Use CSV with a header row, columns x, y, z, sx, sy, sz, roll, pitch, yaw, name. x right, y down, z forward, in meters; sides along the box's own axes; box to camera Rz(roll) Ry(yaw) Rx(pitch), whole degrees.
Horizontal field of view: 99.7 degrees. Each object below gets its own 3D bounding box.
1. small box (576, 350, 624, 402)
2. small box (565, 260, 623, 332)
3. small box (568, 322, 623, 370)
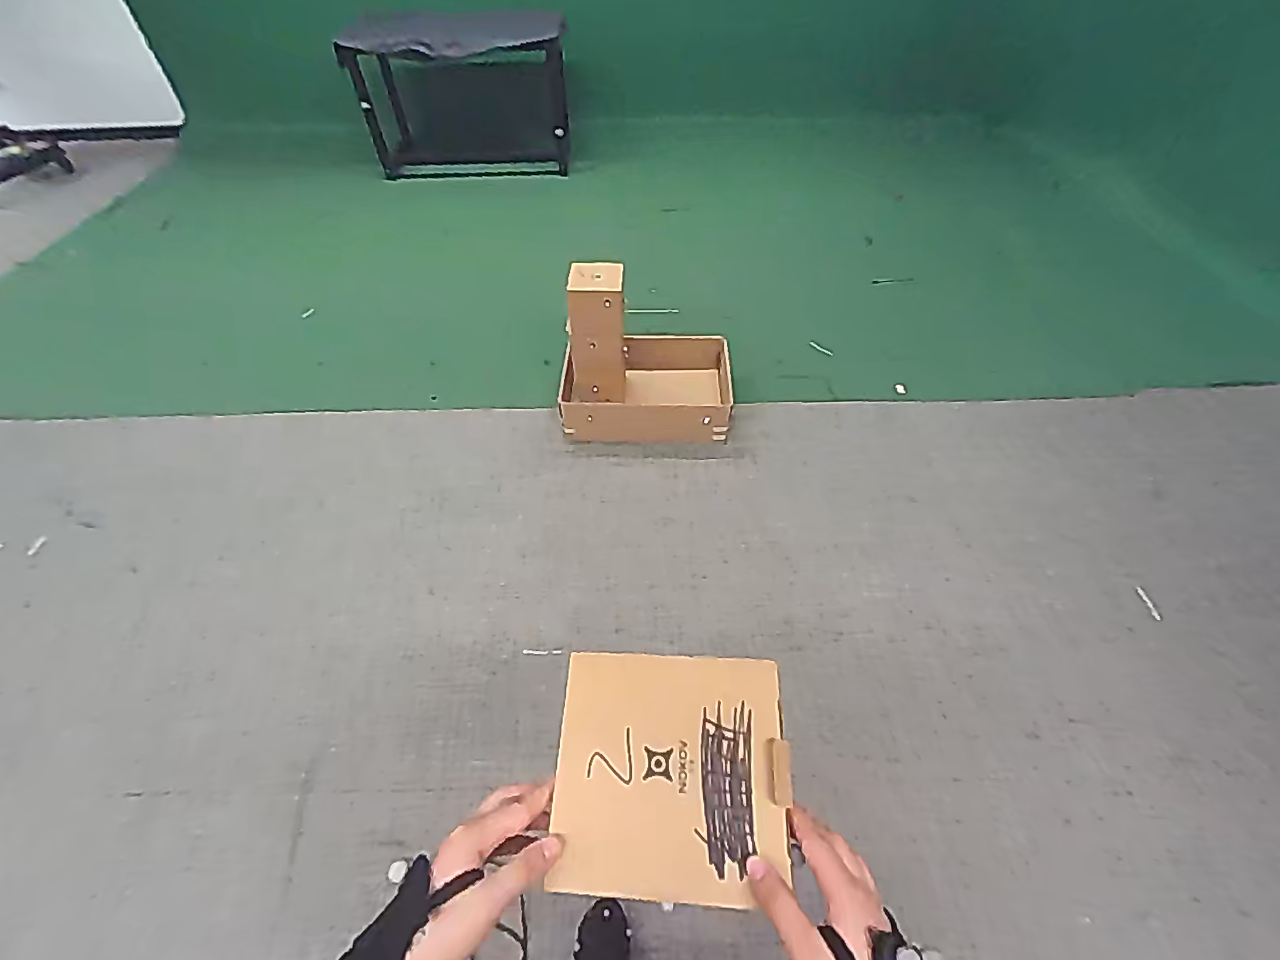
x,y,z,sx,sy,sz,roll,pitch,yaw,name
-0.147,-0.411,2.053,0.168,0.176,0.179,0,52,1,small box
-0.145,-0.606,1.787,0.179,0.176,0.168,0,51,1,small box
-0.154,-0.505,1.918,0.179,0.176,0.168,1,52,1,small box
